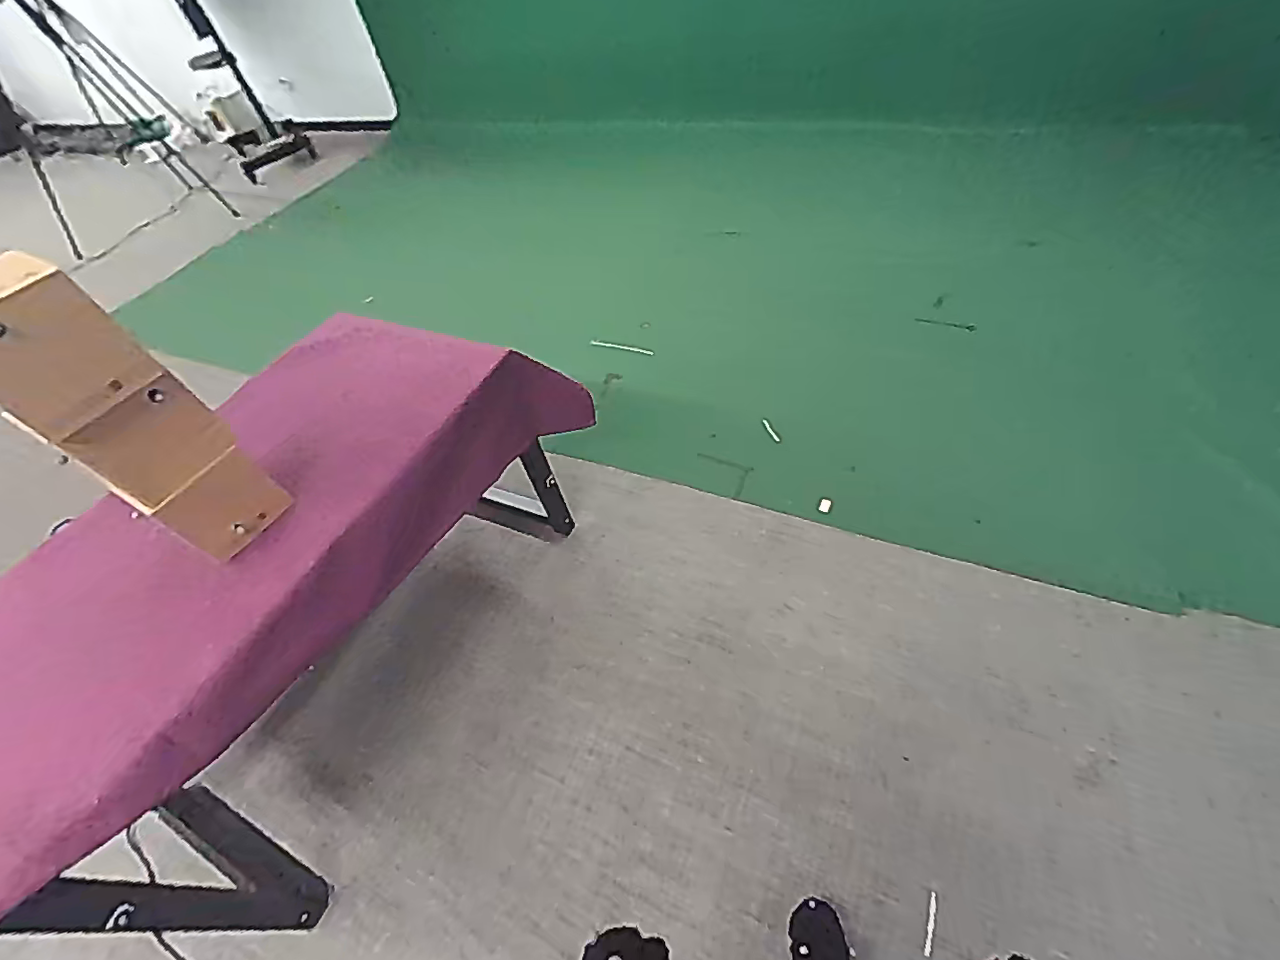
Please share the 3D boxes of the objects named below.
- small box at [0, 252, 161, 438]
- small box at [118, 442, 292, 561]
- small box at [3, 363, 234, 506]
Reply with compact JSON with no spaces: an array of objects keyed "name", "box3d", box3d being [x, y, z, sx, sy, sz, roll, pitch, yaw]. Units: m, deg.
[{"name":"small box","box3d":[-0.820,-0.180,0.729,0.179,0.176,0.168,21,59,26]},{"name":"small box","box3d":[-0.793,0.021,0.984,0.179,0.176,0.168,21,59,24]},{"name":"small box","box3d":[-0.816,-0.085,0.864,0.168,0.176,0.179,19,57,24]}]
